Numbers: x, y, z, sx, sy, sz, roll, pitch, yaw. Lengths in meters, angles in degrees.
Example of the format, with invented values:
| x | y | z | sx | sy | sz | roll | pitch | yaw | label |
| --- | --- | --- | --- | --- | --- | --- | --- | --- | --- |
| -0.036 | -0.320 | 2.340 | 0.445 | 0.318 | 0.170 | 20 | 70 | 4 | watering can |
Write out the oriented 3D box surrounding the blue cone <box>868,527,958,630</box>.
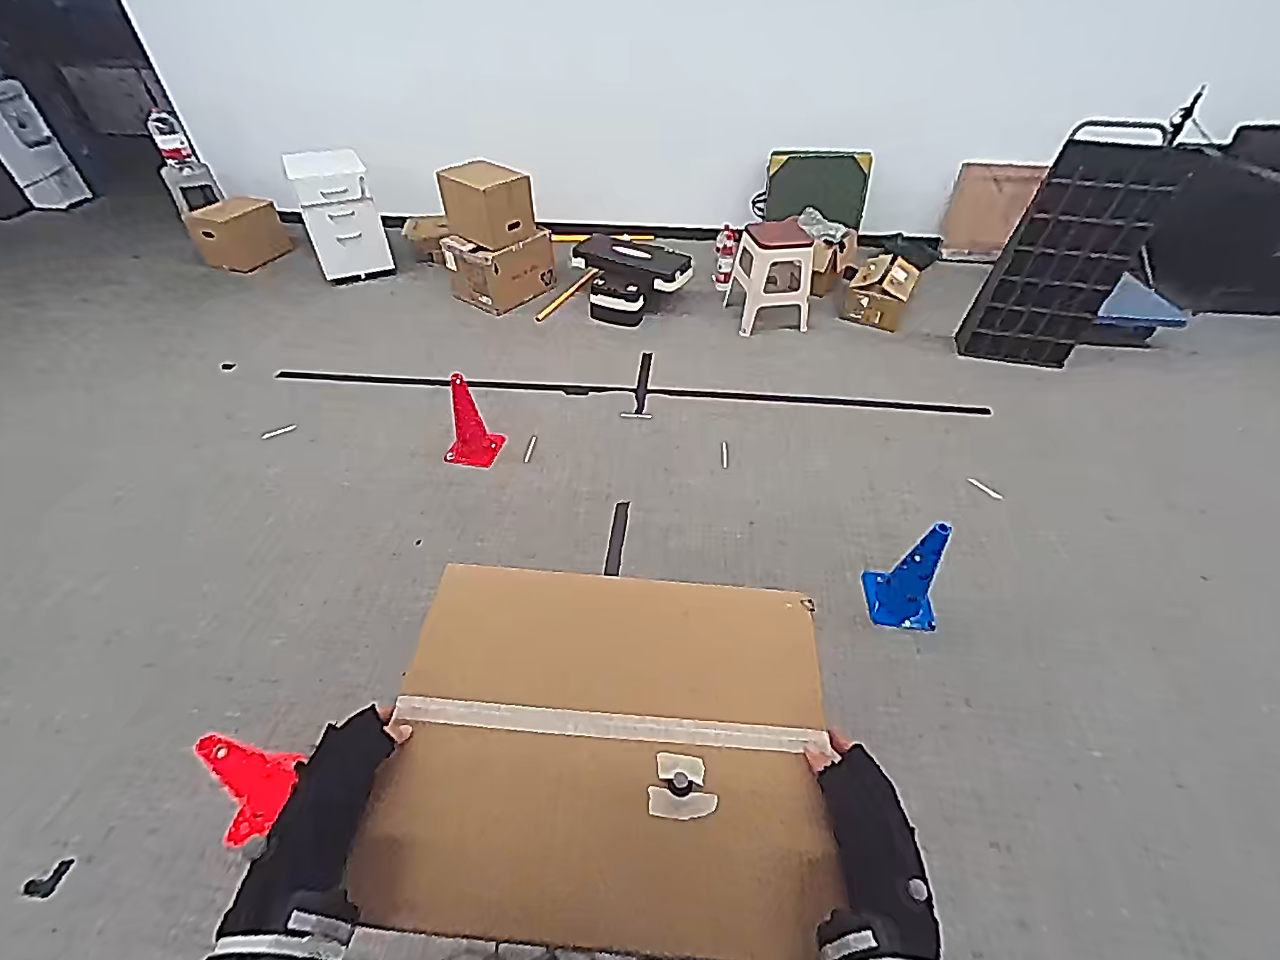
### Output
| x | y | z | sx | sy | sz | roll | pitch | yaw | label |
| --- | --- | --- | --- | --- | --- | --- | --- | --- | --- |
| 0.842 | 0.273 | 1.621 | 0.192 | 0.380 | 0.193 | 7 | 45 | 5 | blue cone |

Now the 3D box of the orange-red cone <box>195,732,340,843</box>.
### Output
| x | y | z | sx | sy | sz | roll | pitch | yaw | label |
| --- | --- | --- | --- | --- | --- | --- | --- | --- | --- |
| -0.854 | 0.641 | 1.188 | 0.198 | 0.360 | 0.199 | 2 | 46 | 2 | orange-red cone |

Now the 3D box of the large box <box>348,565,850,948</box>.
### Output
| x | y | z | sx | sy | sz | roll | pitch | yaw | label |
| --- | --- | --- | --- | --- | --- | --- | --- | --- | --- |
| -0.030 | 0.323 | 0.628 | 0.408 | 0.320 | 0.320 | 5 | 51 | 1 | large box |

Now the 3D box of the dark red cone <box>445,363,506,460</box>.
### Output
| x | y | z | sx | sy | sz | roll | pitch | yaw | label |
| --- | --- | --- | --- | --- | --- | --- | --- | --- | --- |
| -0.664 | -0.273 | 2.094 | 0.201 | 0.394 | 0.202 | 9 | 45 | 7 | dark red cone |
